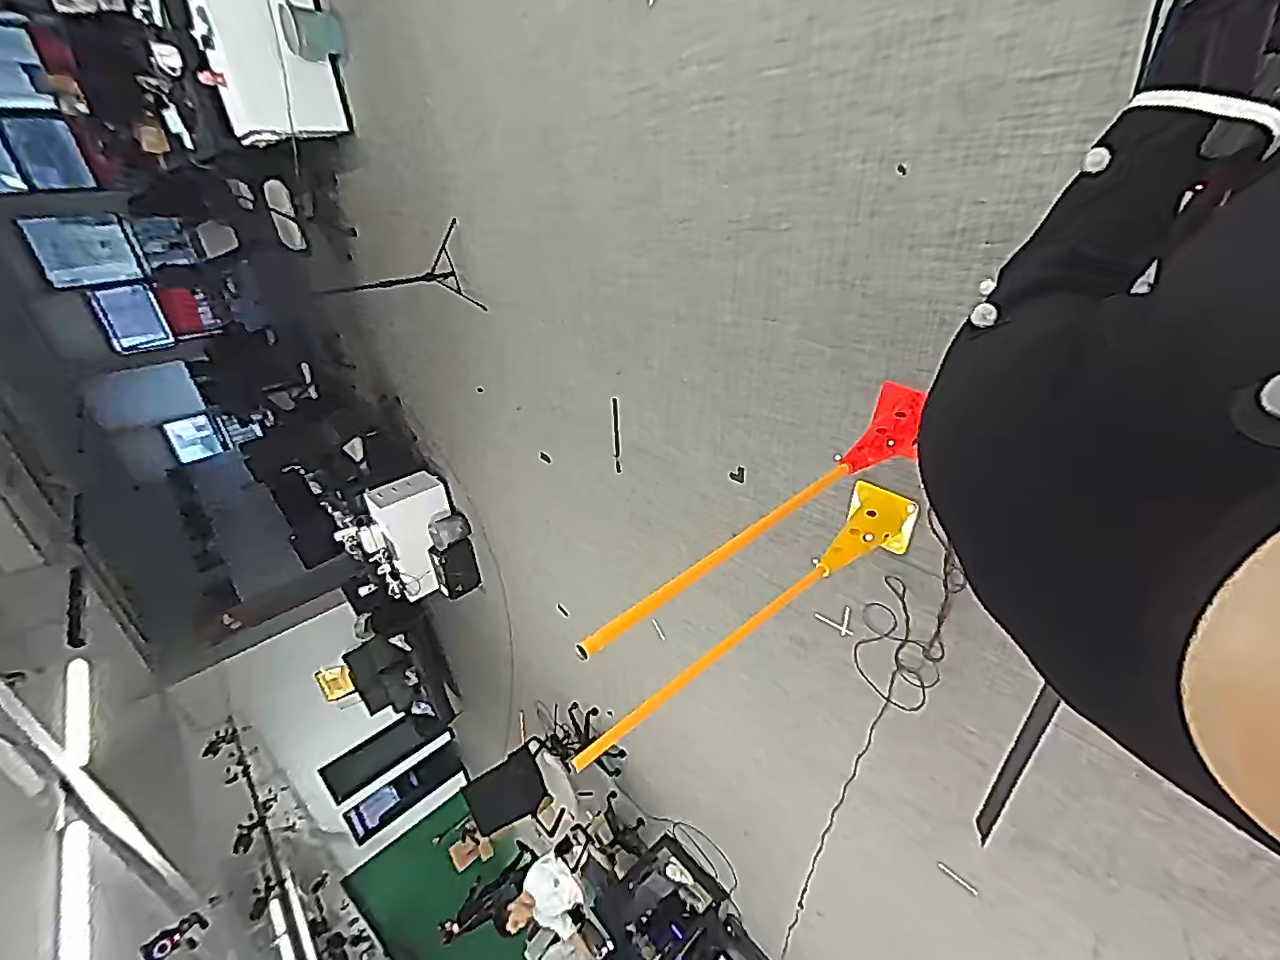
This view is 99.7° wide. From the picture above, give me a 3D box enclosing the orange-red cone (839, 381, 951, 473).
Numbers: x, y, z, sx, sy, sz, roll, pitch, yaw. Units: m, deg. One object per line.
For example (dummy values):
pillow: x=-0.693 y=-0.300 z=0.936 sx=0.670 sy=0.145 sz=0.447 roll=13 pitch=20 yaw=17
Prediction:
orange-red cone: x=0.624 y=-0.101 z=1.417 sx=0.198 sy=0.360 sz=0.199 roll=32 pitch=133 yaw=35
